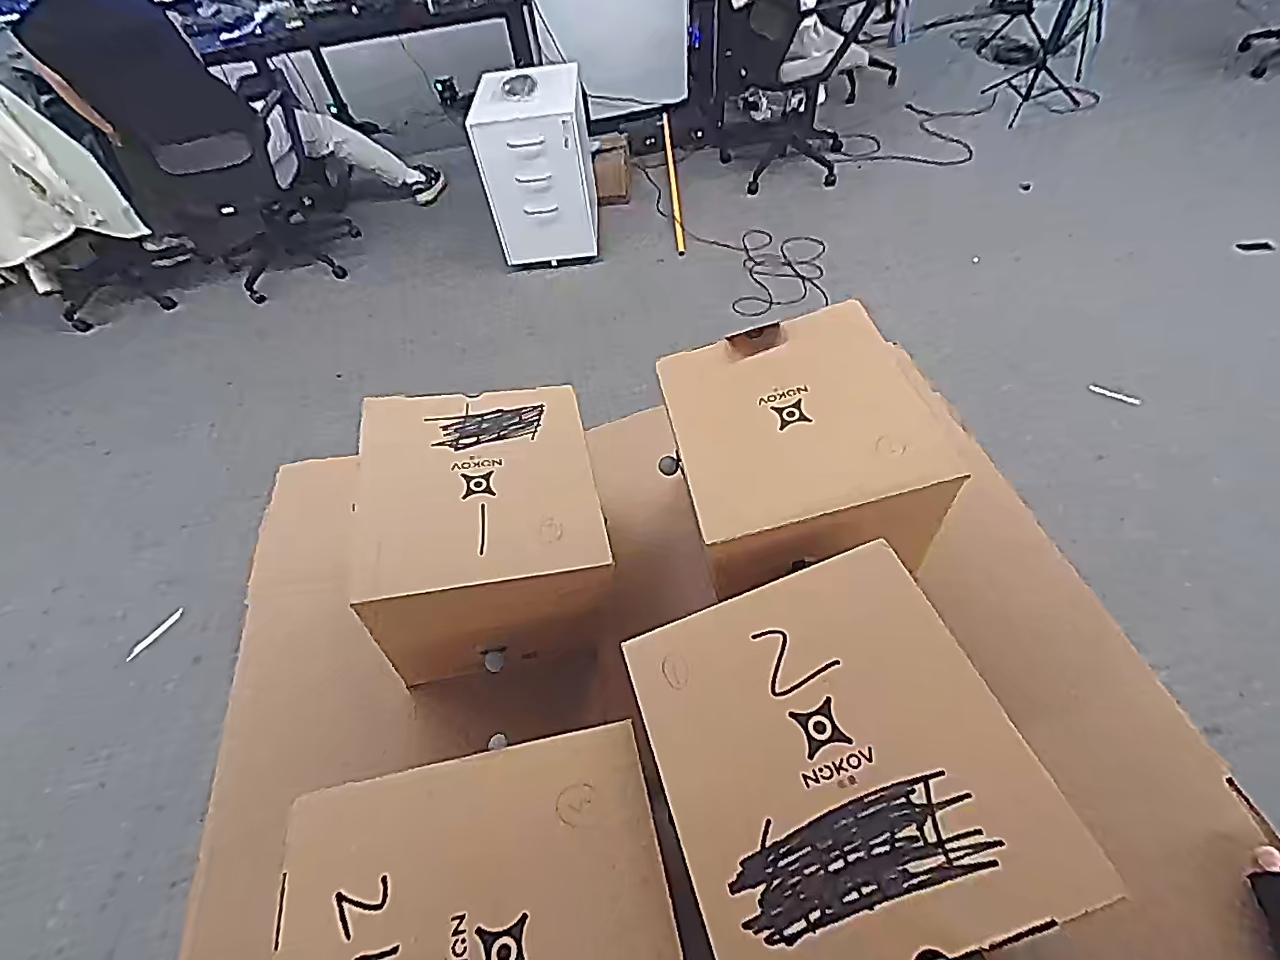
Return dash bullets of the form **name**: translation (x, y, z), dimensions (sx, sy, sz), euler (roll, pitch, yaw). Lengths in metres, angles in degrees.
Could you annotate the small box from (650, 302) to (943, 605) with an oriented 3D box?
- **small box**: translation (0.119, -0.010, 0.455), dimensions (0.168, 0.176, 0.179), euler (-16, 54, 5)
